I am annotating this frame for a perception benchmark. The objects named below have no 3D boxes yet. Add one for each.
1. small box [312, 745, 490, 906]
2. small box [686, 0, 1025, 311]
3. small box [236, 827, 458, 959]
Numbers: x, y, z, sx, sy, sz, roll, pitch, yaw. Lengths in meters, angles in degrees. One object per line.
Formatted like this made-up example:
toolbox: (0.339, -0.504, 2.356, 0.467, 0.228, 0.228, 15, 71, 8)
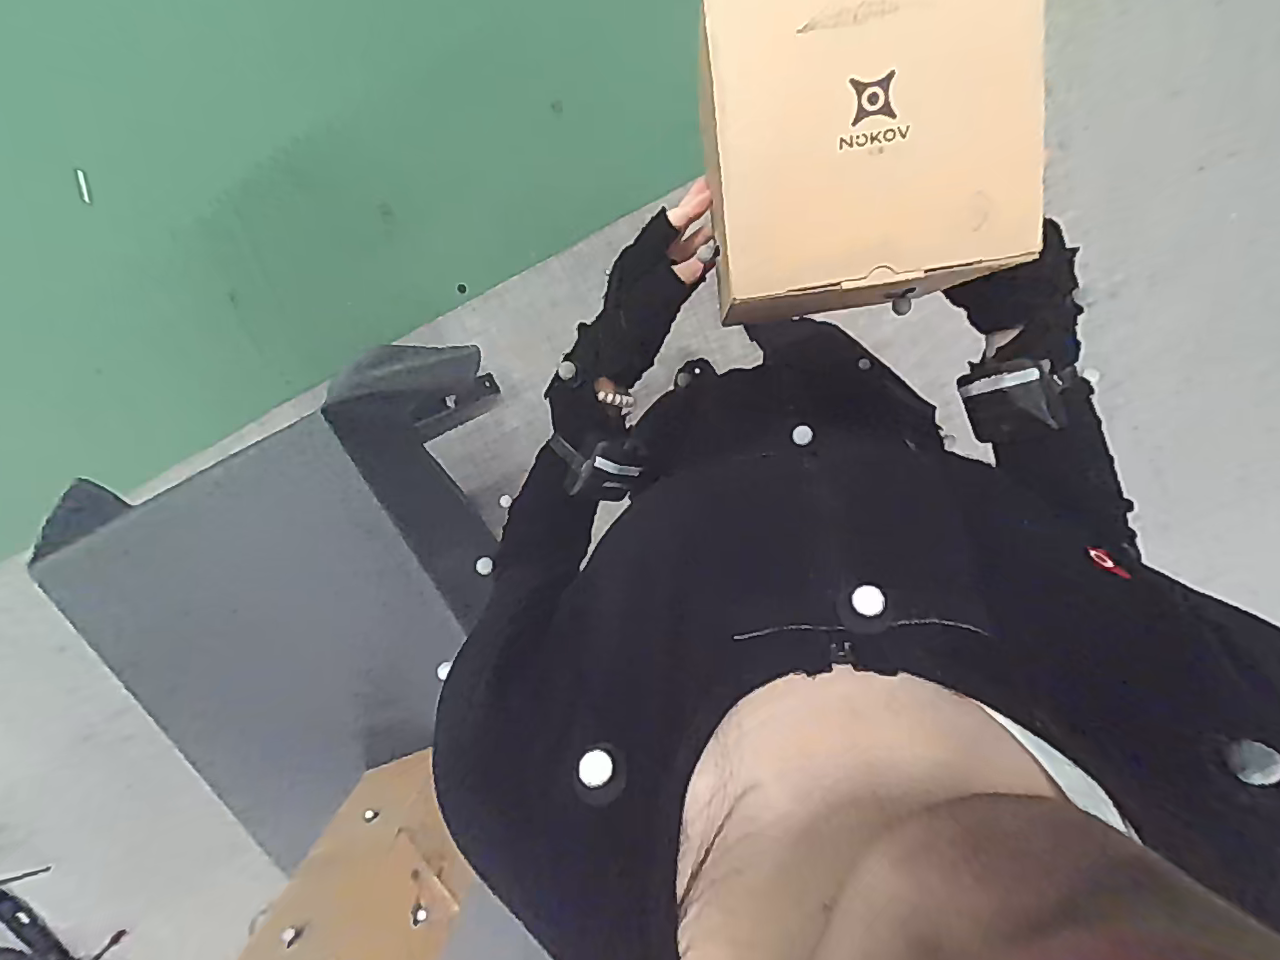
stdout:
small box: (-0.364, 0.563, 0.870, 0.179, 0.176, 0.168, -25, 103, 12)
small box: (0.125, -0.216, 0.365, 0.168, 0.176, 0.179, -7, 101, 8)
small box: (-0.378, 0.608, 0.715, 0.179, 0.176, 0.168, -24, 103, 11)
